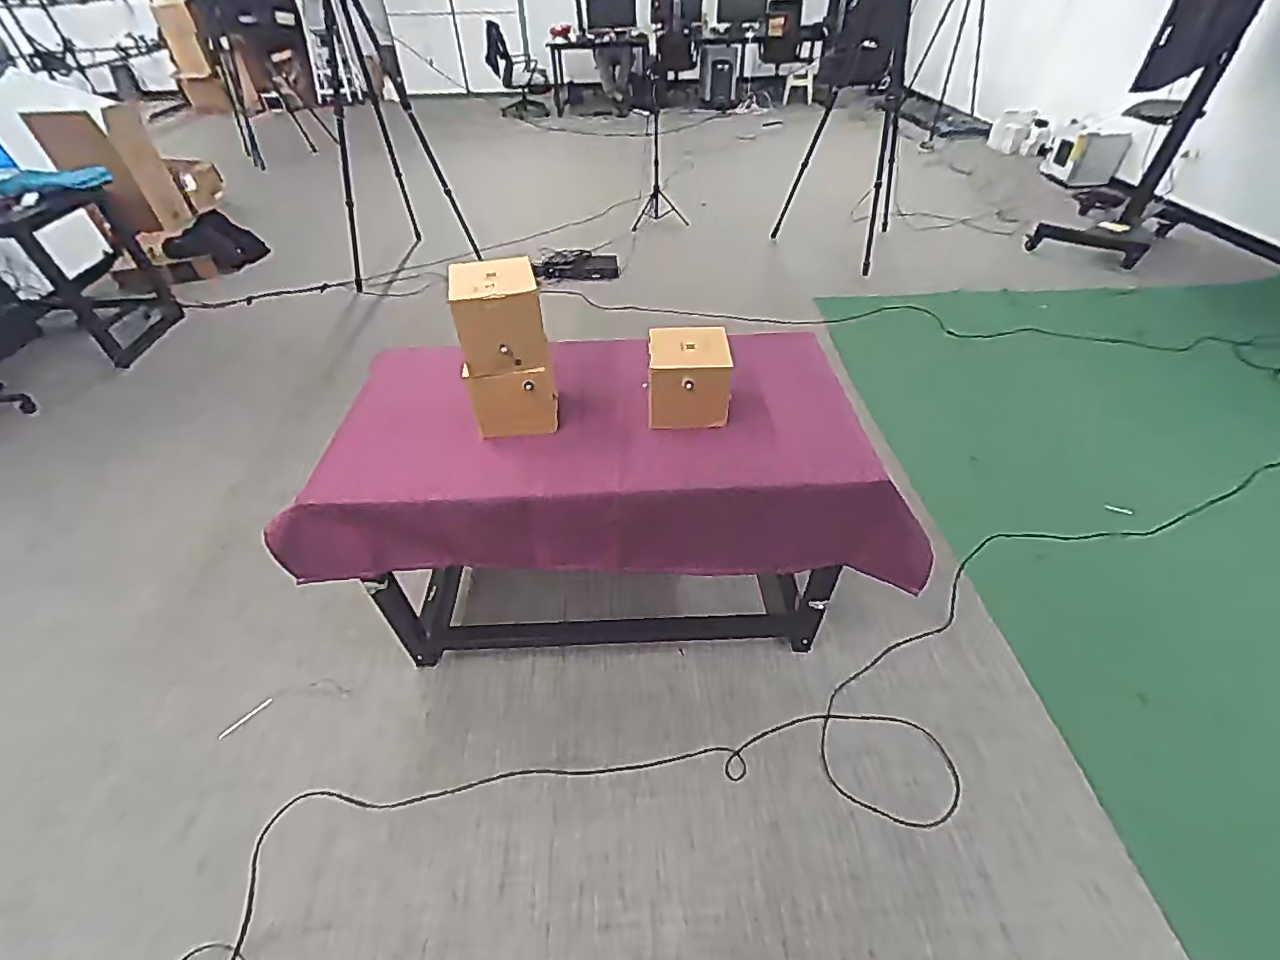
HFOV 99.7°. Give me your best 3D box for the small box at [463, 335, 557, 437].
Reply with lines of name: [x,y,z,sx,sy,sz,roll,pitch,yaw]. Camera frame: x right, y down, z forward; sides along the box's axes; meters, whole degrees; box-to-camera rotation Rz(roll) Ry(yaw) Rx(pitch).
small box: [-0.288,-0.211,1.236,0.179,0.176,0.168,-5,44,-4]

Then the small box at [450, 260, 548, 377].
small box: [-0.292,-0.338,1.129,0.168,0.176,0.179,-11,45,-9]

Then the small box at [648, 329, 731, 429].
small box: [0.108,-0.229,1.237,0.179,0.176,0.168,-1,45,1]
